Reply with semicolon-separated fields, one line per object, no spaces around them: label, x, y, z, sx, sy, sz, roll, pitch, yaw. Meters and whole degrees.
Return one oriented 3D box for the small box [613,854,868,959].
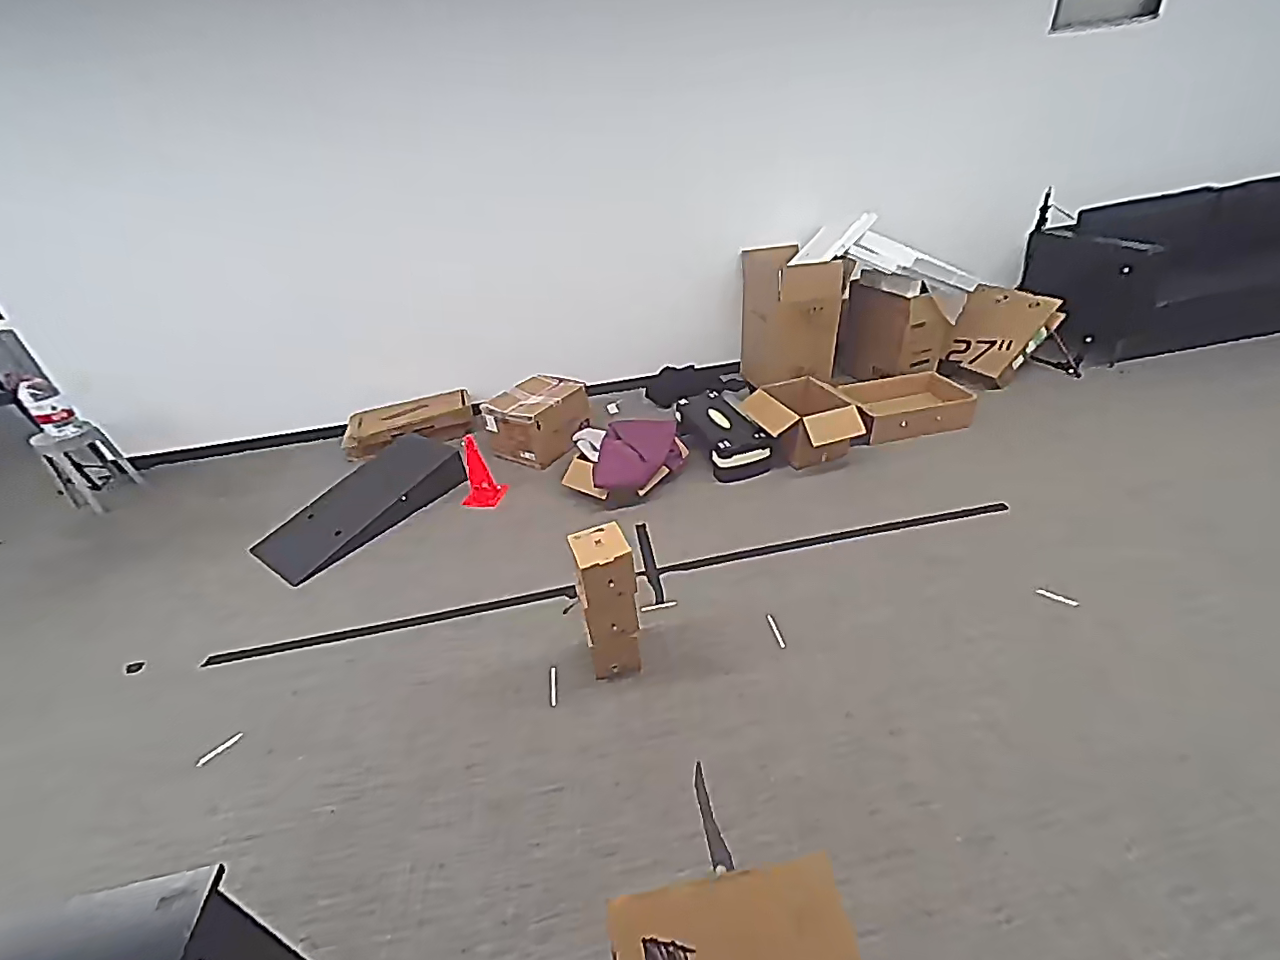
small box;0.082;0.415;0.414;0.179;0.176;0.168;-9;46;-4

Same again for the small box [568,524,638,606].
small box;-0.114;0.273;1.700;0.168;0.176;0.179;-17;34;-12

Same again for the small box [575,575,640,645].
small box;-0.108;0.411;1.791;0.168;0.176;0.179;-16;33;-11

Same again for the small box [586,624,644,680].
small box;-0.090;0.556;1.868;0.168;0.176;0.179;-13;34;-7
